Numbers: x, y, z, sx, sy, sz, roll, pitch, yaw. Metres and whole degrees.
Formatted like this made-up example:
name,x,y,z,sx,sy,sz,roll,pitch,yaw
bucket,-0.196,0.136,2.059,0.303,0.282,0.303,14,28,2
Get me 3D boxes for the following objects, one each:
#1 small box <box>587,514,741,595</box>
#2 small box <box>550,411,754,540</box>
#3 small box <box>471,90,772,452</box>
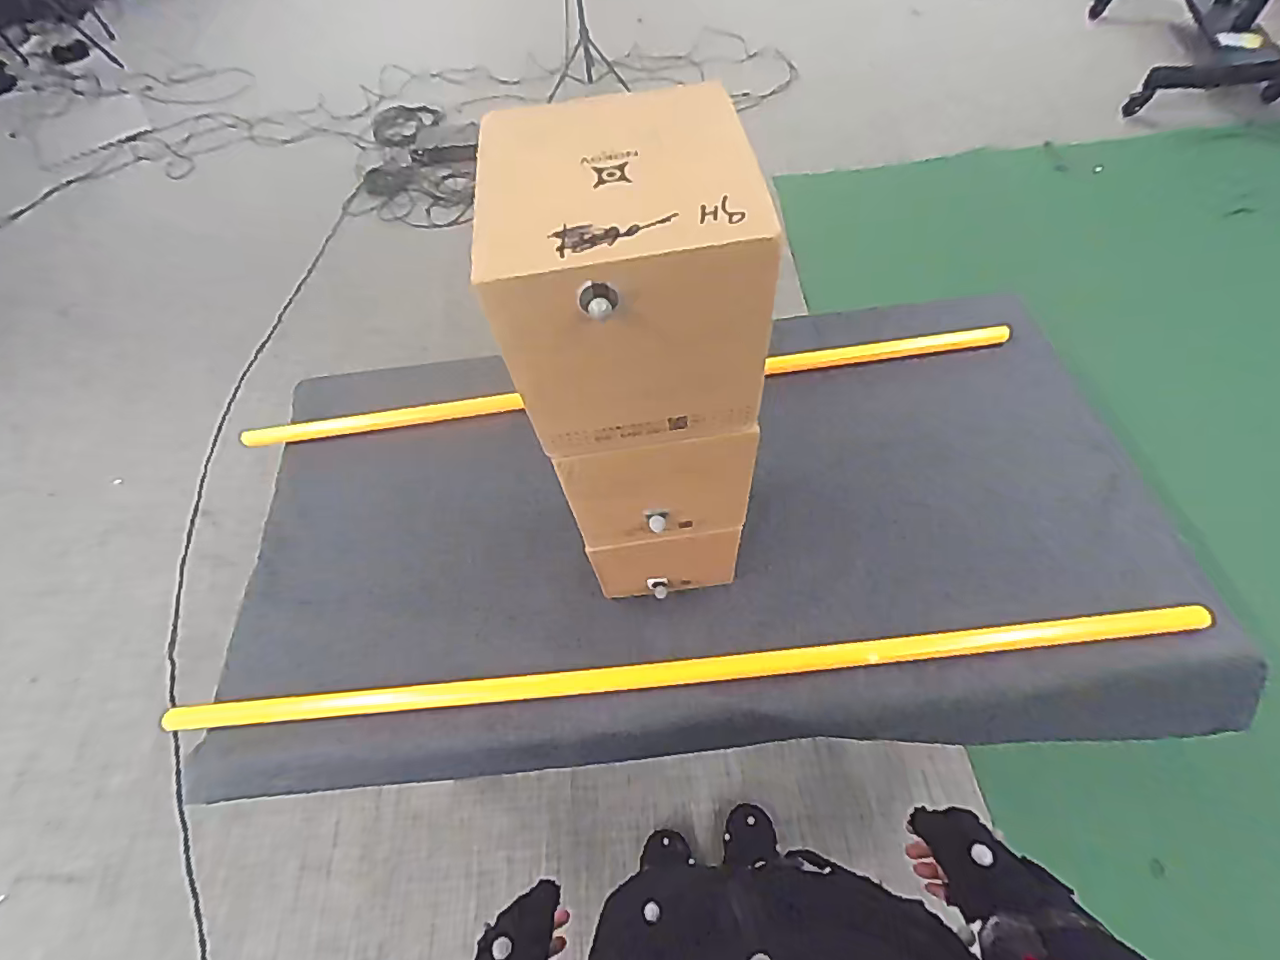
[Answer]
name,x,y,z,sx,sy,sz,roll,pitch,yaw
small box,0.023,0.026,0.678,0.168,0.176,0.179,-9,60,1
small box,0.009,-0.060,0.538,0.168,0.176,0.179,-8,59,2
small box,-0.010,-0.145,0.400,0.168,0.176,0.179,-9,58,2
